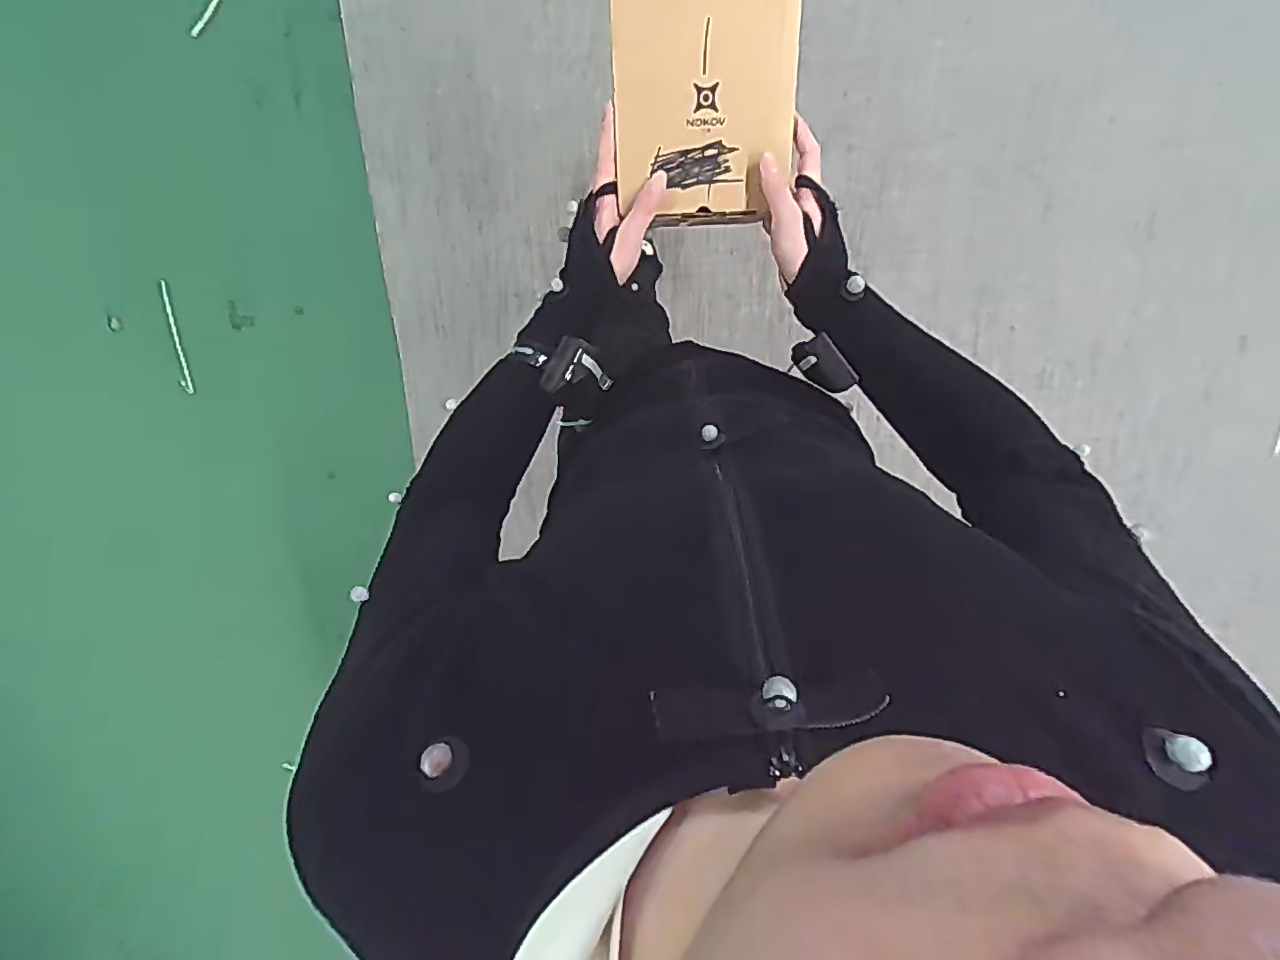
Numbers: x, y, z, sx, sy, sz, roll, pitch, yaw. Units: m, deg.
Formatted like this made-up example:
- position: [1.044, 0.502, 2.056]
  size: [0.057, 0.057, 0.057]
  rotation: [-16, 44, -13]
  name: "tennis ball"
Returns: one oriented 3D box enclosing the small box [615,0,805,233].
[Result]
- position: [0.061, -0.358, 0.565]
  size: [0.168, 0.176, 0.179]
  rotation: [-2, 110, 0]
  name: "small box"
